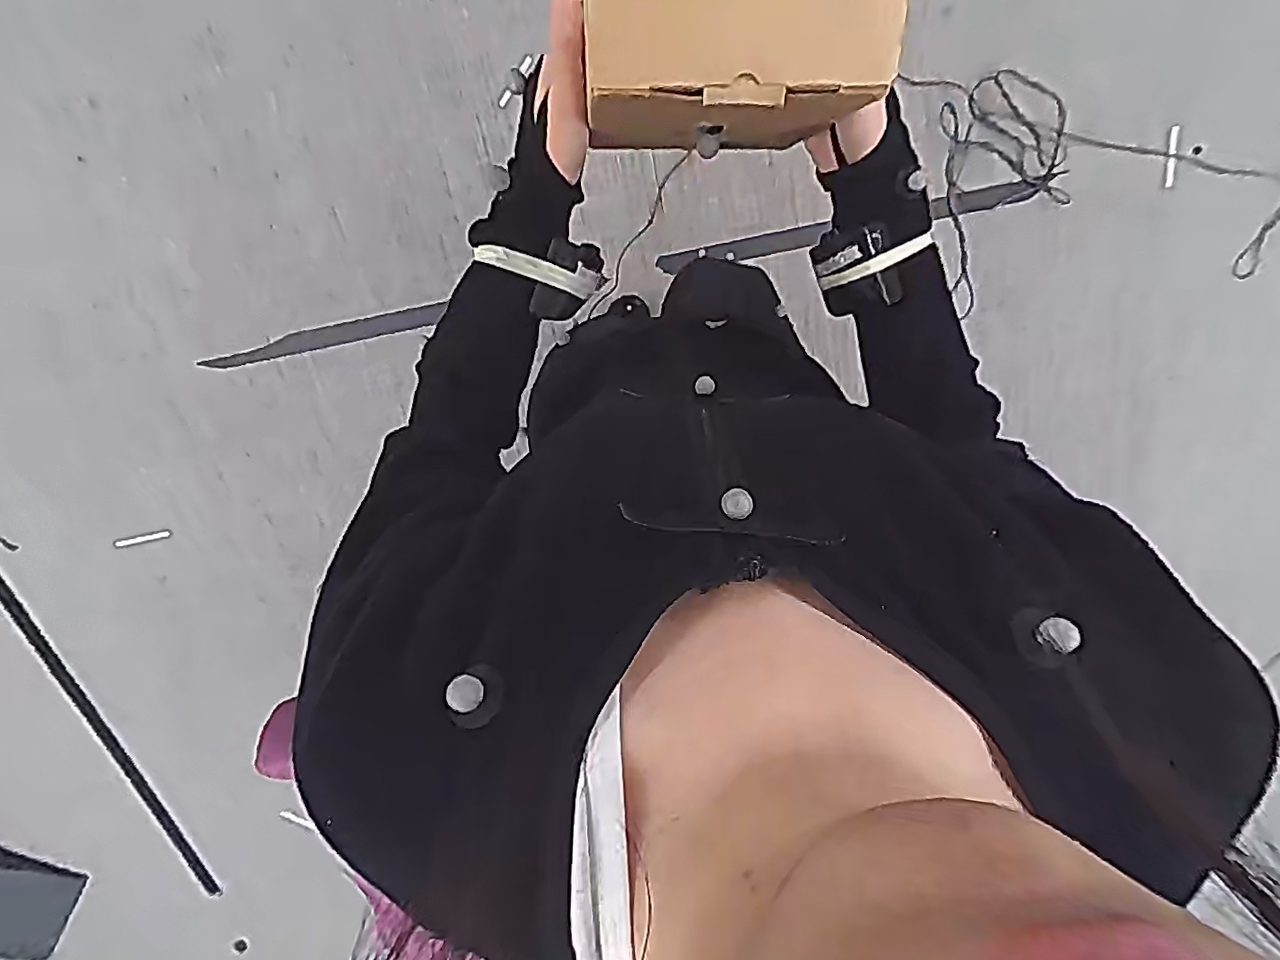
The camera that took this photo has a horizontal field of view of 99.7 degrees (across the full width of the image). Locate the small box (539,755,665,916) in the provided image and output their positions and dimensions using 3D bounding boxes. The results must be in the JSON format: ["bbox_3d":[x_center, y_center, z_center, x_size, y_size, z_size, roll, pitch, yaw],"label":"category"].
[{"bbox_3d":[-0.059,0.570,0.867,0.168,0.176,0.179,-9,110,0],"label":"small box"}]

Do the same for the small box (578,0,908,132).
[{"bbox_3d":[0.047,-0.320,0.321,0.168,0.176,0.179,-4,114,-5],"label":"small box"}]

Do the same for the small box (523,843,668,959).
[{"bbox_3d":[-0.050,0.627,0.713,0.168,0.176,0.179,-10,109,-1],"label":"small box"}]
